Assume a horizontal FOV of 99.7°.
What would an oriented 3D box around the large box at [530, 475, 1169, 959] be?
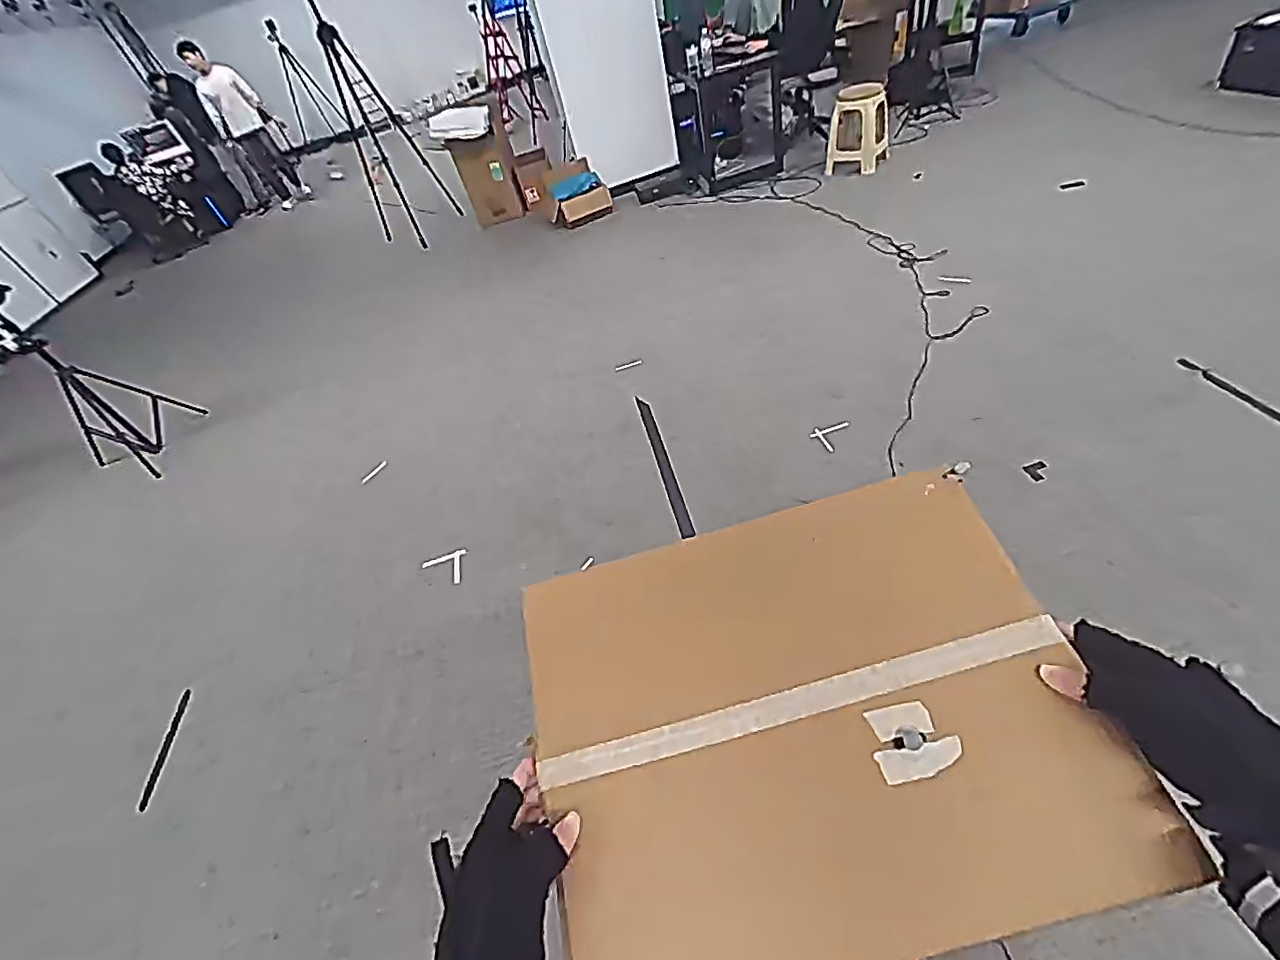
[{"bbox_3d":[0.144,0.252,0.555,0.408,0.320,0.320,-17,58,2],"label":"large box"}]
